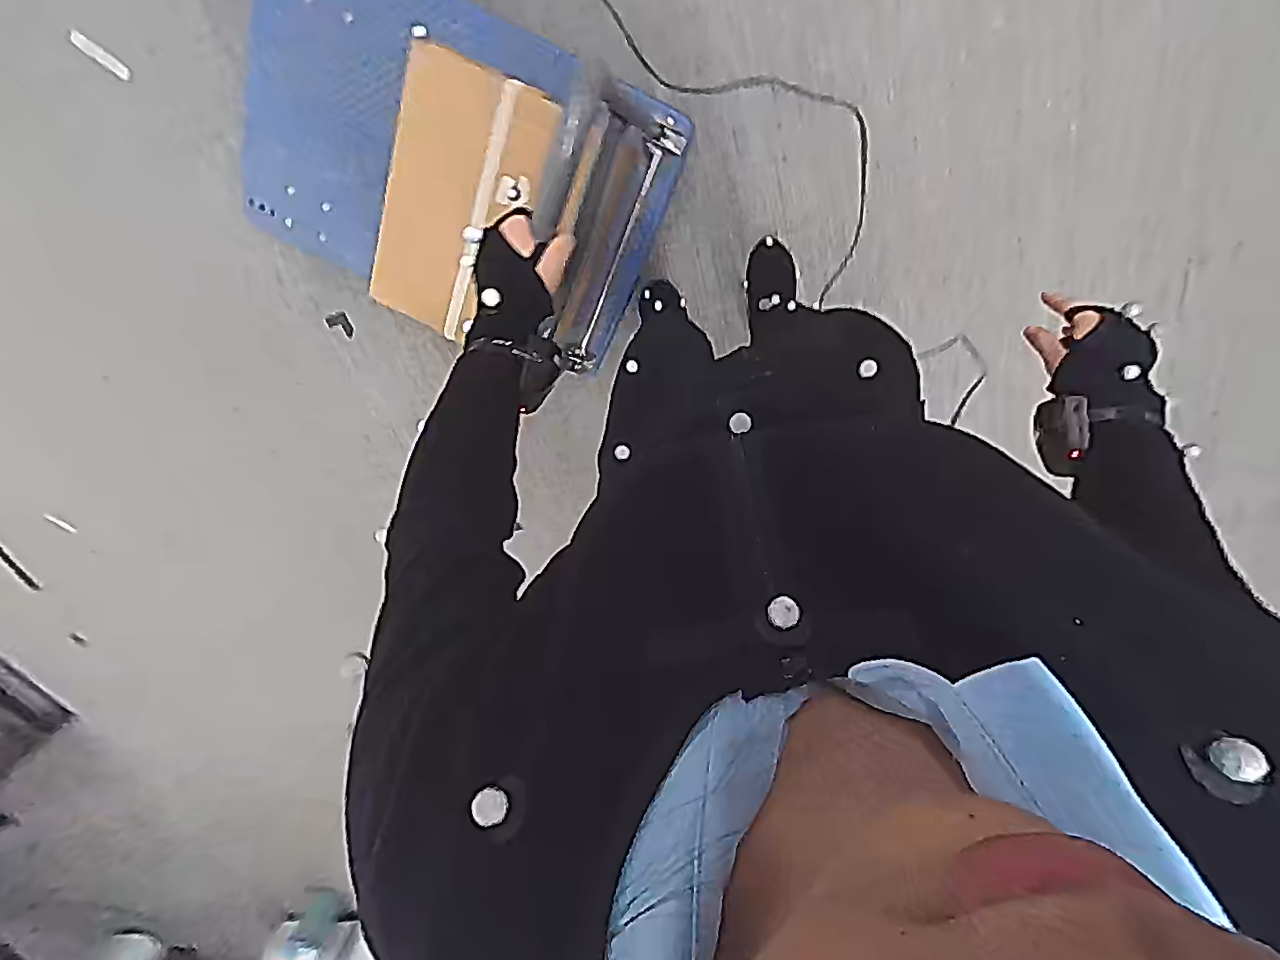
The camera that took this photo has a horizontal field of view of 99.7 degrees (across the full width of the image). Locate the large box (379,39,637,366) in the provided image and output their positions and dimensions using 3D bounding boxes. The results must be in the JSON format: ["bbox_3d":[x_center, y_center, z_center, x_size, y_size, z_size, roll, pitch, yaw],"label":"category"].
[{"bbox_3d":[-0.236,-0.490,1.019,0.320,0.320,0.408,24,118,-6],"label":"large box"}]
